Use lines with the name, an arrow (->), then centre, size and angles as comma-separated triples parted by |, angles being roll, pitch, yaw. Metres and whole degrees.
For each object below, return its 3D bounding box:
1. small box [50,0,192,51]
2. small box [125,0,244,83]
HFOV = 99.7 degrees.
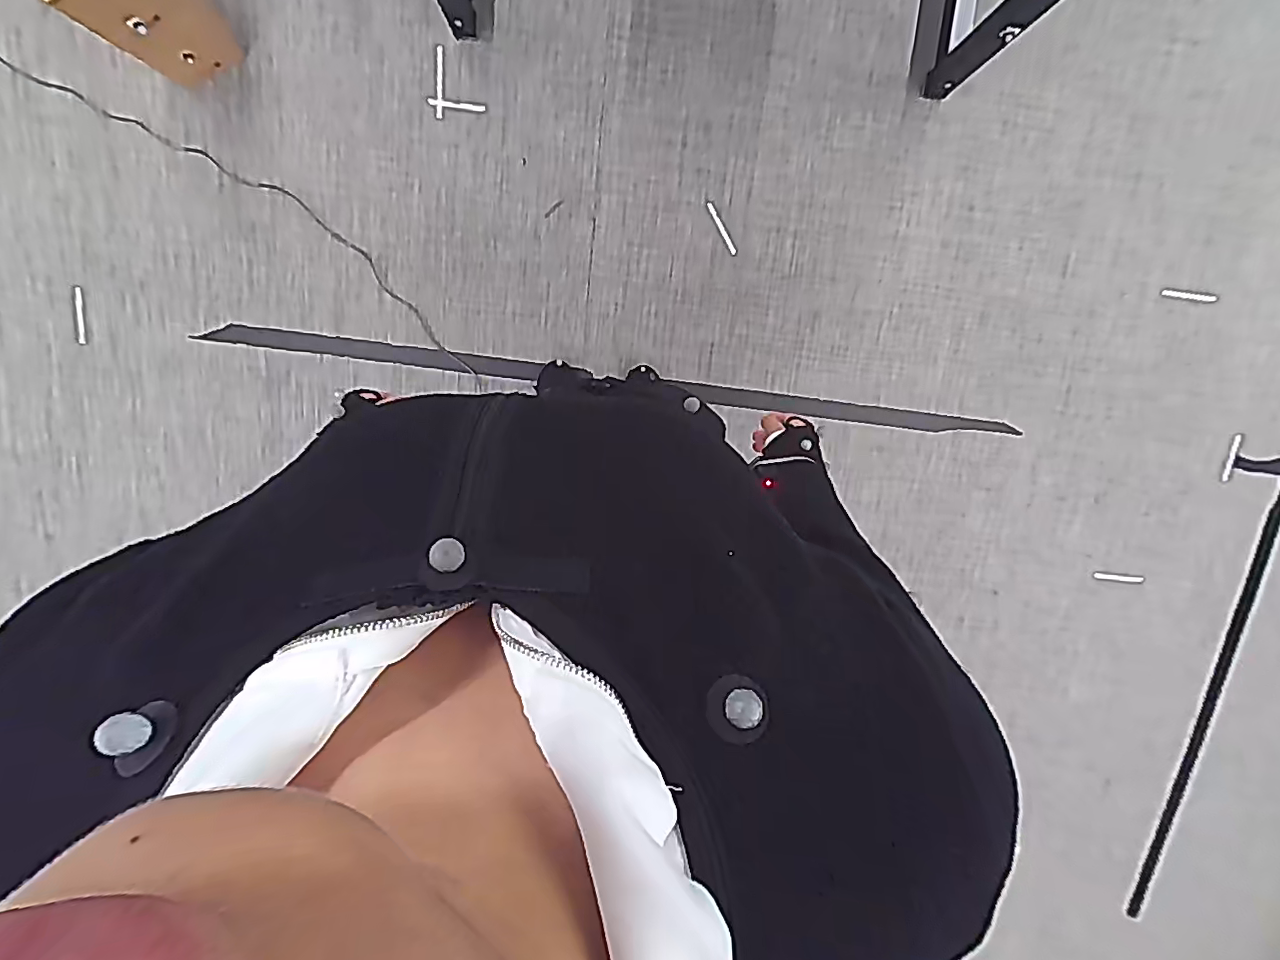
small box -> -1.016, -0.971, 1.013 | 0.168, 0.176, 0.179 | -30, 102, 5
small box -> -1.020, -1.007, 1.172 | 0.168, 0.176, 0.179 | -26, 101, 2
